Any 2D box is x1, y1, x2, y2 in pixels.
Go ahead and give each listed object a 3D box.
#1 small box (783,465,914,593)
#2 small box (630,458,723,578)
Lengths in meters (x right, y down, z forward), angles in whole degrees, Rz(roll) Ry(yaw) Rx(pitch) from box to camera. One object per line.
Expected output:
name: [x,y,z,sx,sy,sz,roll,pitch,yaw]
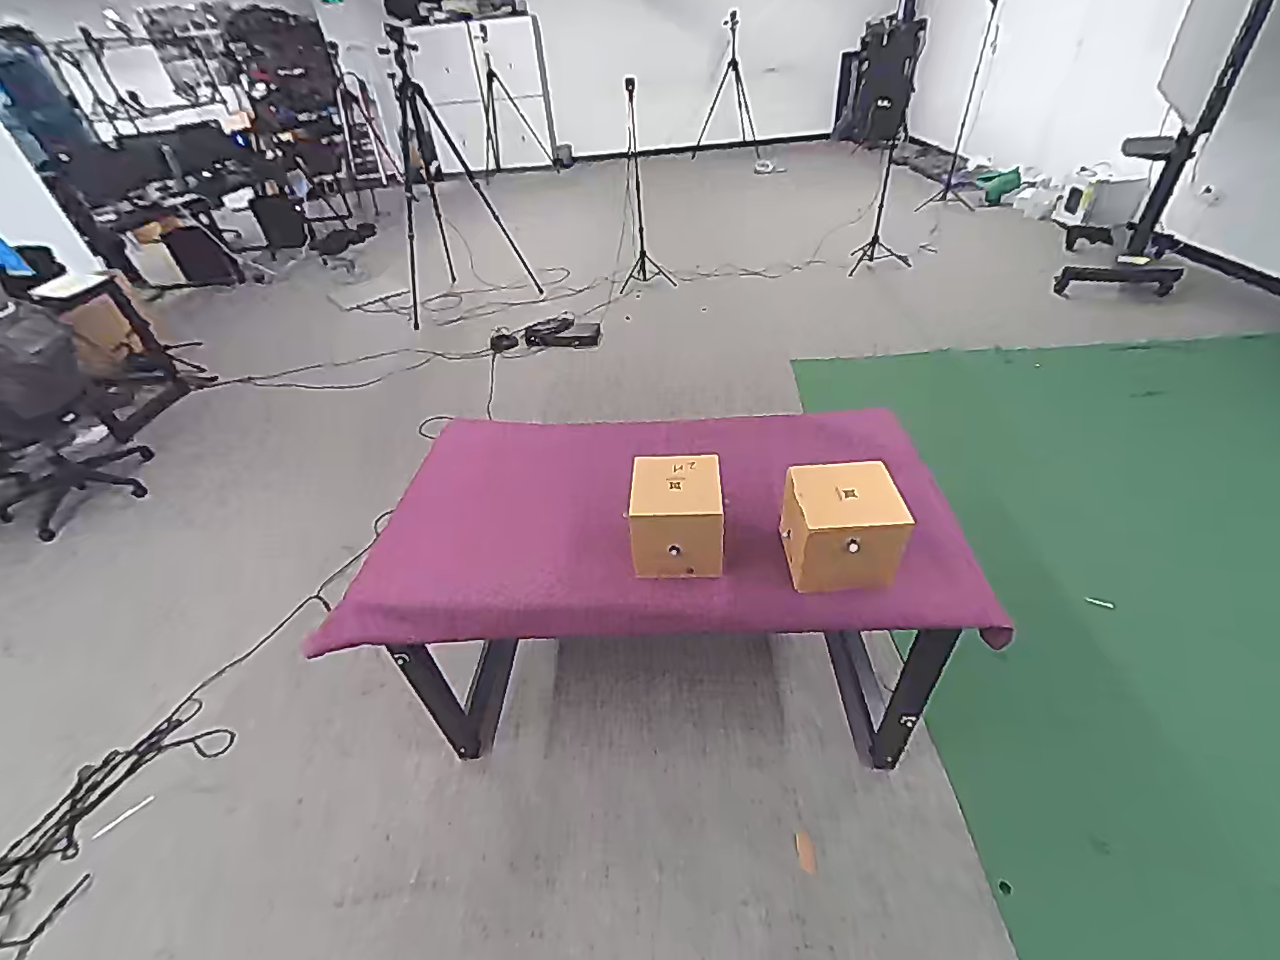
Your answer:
small box: [0.370,0.092,0.996,0.179,0.176,0.168,-4,40,4]
small box: [0.076,0.076,1.053,0.168,0.176,0.179,-1,38,6]
